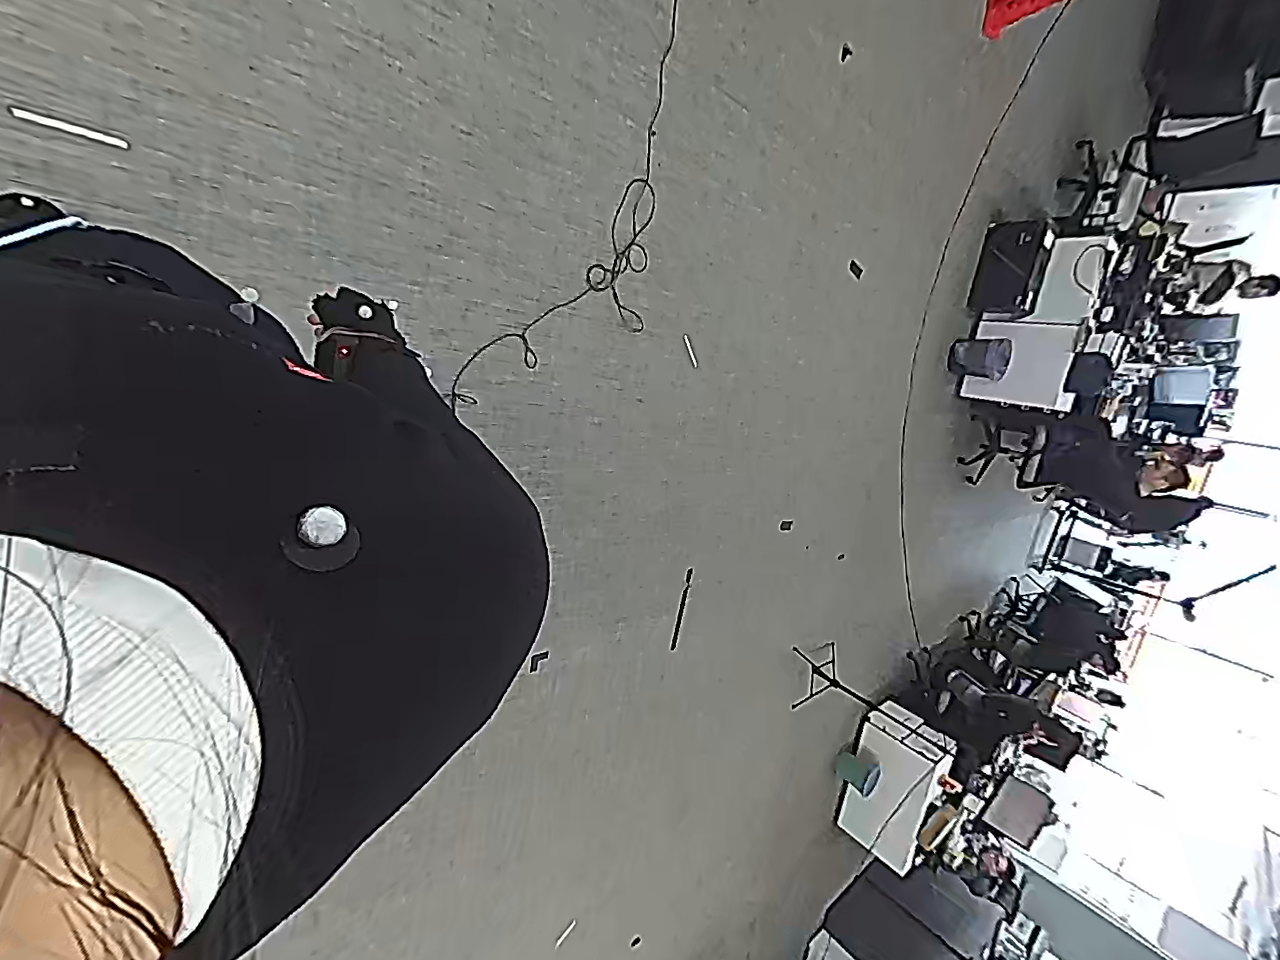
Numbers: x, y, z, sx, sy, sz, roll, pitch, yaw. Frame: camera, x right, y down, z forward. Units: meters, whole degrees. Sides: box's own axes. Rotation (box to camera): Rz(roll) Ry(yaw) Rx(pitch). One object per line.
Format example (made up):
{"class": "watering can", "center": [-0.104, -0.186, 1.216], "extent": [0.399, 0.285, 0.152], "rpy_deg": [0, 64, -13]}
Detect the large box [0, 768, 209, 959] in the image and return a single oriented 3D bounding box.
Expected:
{"class": "large box", "center": [-1.172, 0.822, 1.087], "extent": [0.408, 0.320, 0.320], "rpy_deg": [27, 85, -43]}
